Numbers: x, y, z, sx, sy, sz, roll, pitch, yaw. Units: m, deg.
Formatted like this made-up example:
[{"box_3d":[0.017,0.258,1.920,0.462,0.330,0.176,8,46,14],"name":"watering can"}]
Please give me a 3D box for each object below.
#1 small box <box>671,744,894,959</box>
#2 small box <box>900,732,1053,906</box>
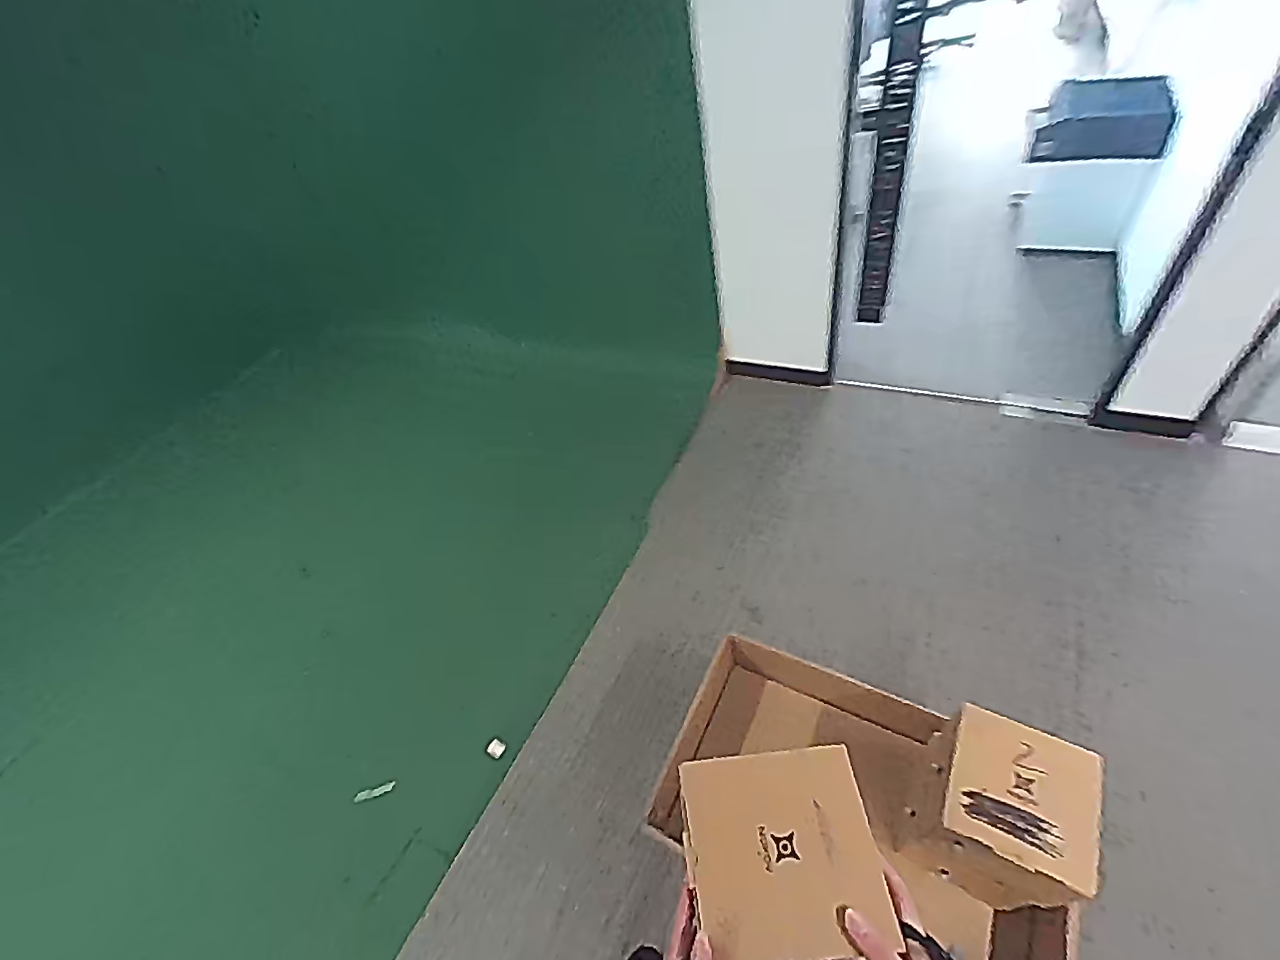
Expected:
[{"box_3d":[0.131,0.393,0.569,0.179,0.176,0.168,-7,52,0],"name":"small box"},{"box_3d":[0.544,0.558,0.891,0.168,0.176,0.179,18,56,26],"name":"small box"}]
